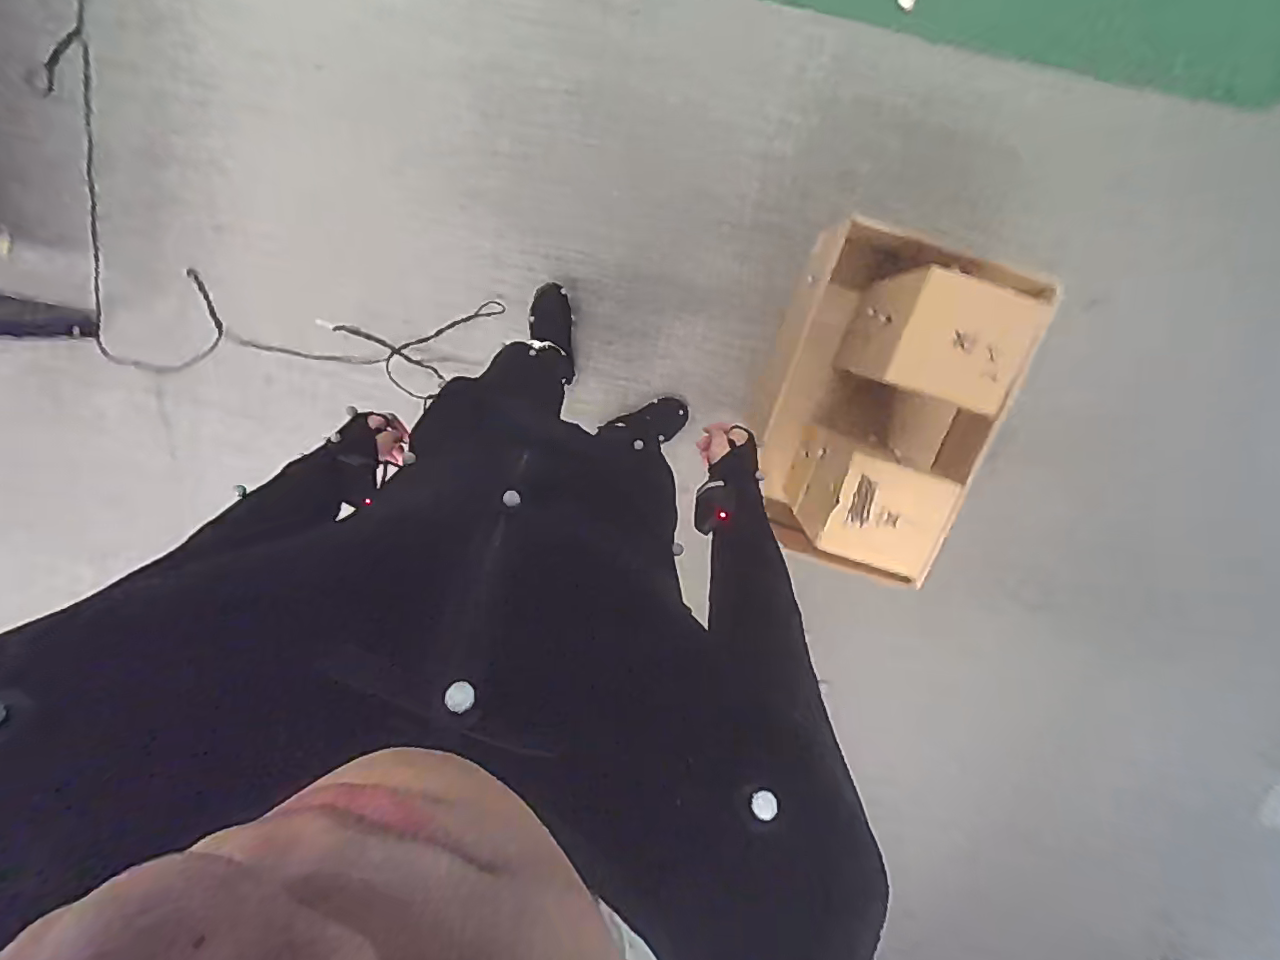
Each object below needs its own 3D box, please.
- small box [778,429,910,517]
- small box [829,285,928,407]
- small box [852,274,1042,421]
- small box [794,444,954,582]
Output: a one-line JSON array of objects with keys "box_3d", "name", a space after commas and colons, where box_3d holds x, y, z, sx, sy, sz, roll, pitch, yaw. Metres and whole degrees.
[{"box_3d": [0.396, 0.004, 1.088, 0.179, 0.176, 0.168, 19, 105, -1], "name": "small box"}, {"box_3d": [0.486, -0.249, 1.013, 0.179, 0.176, 0.168, 21, 104, -2], "name": "small box"}, {"box_3d": [0.465, -0.207, 0.856, 0.179, 0.176, 0.168, 20, 106, -1], "name": "small box"}, {"box_3d": [0.385, 0.047, 0.930, 0.179, 0.176, 0.168, 18, 105, -1], "name": "small box"}]
